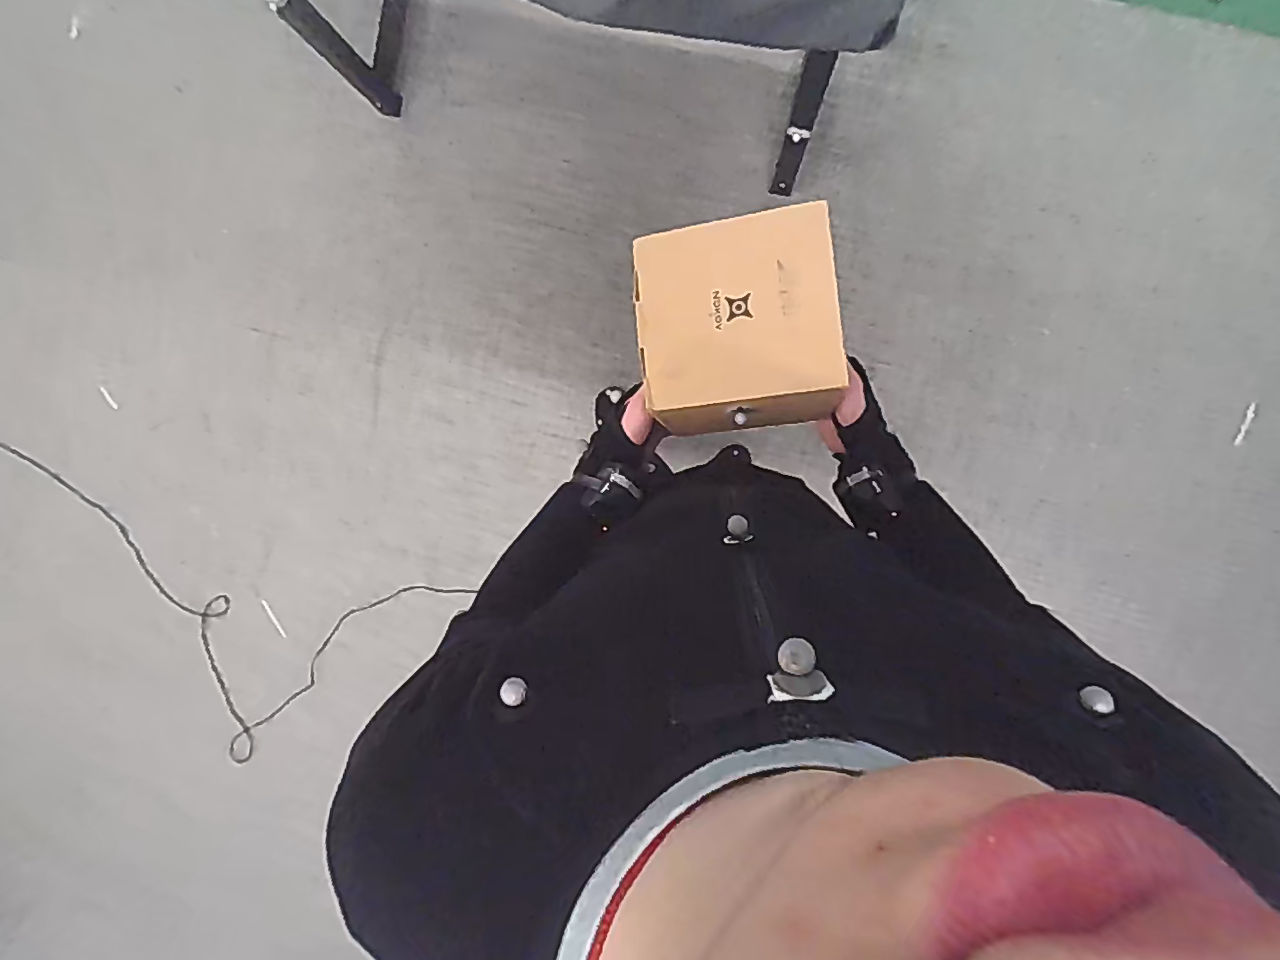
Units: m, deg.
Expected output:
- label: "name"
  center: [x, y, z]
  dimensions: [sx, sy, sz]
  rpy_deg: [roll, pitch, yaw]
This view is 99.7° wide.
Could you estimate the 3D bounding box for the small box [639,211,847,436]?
- label: "small box"
  center: [0.107, -0.145, 0.569]
  dimensions: [0.179, 0.176, 0.168]
  rpy_deg: [-7, 86, 11]
